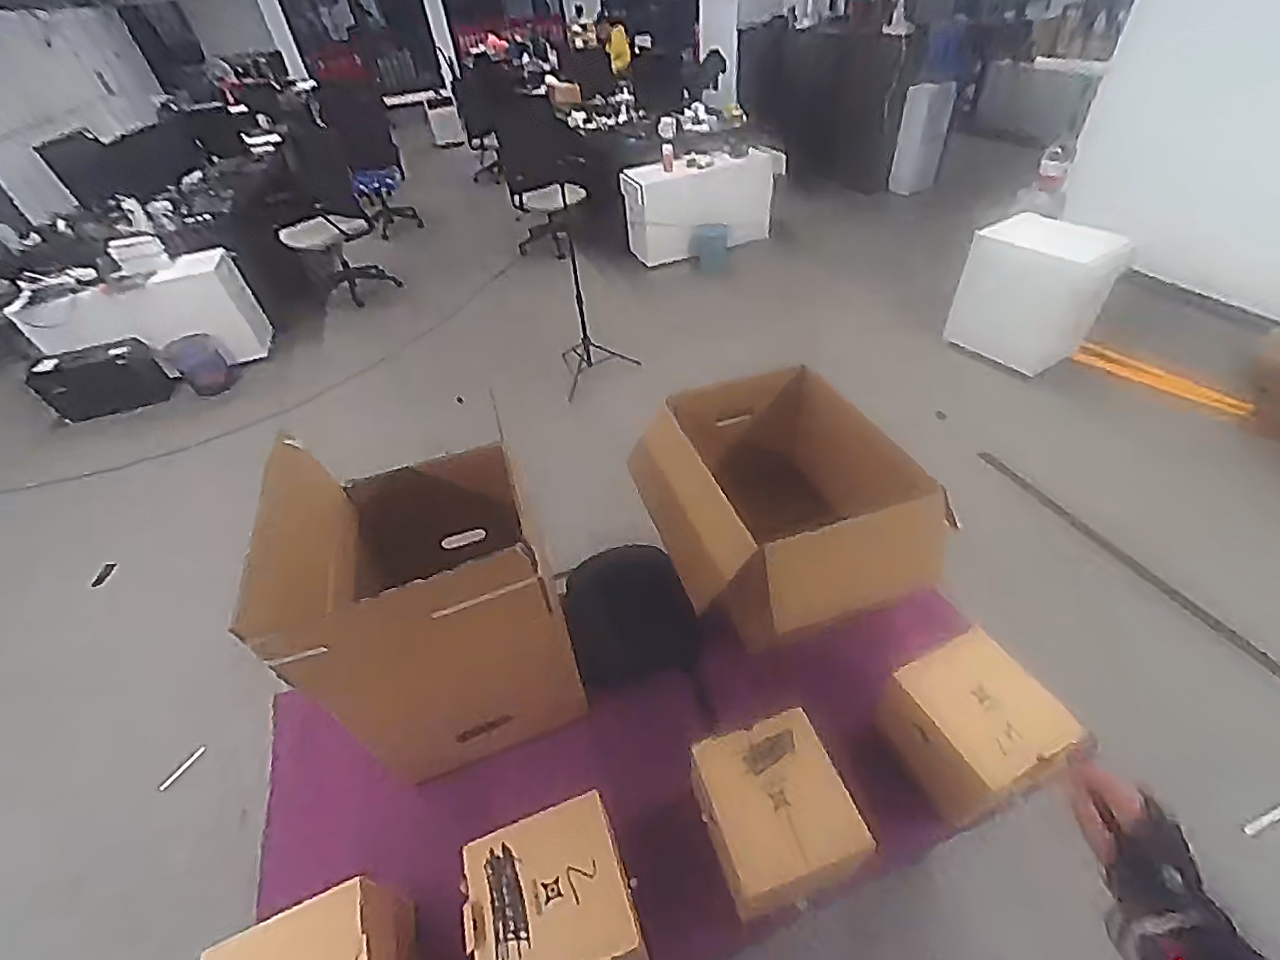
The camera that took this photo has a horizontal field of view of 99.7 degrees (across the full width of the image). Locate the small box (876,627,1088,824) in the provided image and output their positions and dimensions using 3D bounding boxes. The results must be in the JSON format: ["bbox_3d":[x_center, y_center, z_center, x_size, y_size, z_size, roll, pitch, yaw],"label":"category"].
[{"bbox_3d":[0.474,0.355,0.785,0.168,0.176,0.179,-21,45,-13],"label":"small box"}]

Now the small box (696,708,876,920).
[{"bbox_3d":[0.180,0.448,0.728,0.168,0.176,0.179,-16,44,-9],"label":"small box"}]

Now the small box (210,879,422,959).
[{"bbox_3d":[-0.367,0.614,0.626,0.179,0.176,0.168,-19,44,-15],"label":"small box"}]
